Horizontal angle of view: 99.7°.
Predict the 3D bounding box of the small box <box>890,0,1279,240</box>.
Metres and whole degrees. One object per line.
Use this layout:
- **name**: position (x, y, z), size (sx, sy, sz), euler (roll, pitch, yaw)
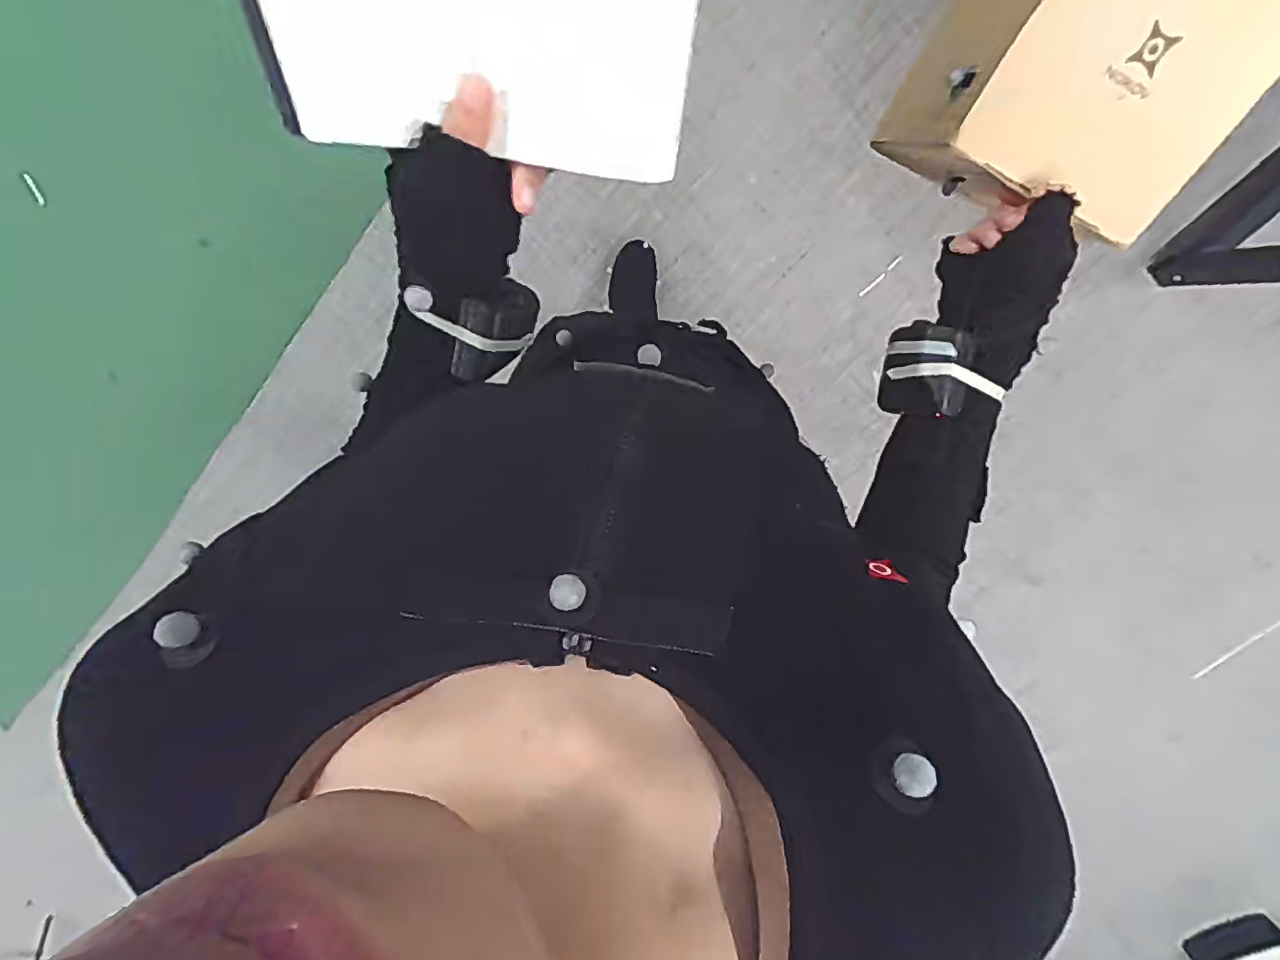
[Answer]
- **small box**: position (0.325, -0.313, 0.404), size (0.168, 0.176, 0.179), euler (21, 121, -11)
